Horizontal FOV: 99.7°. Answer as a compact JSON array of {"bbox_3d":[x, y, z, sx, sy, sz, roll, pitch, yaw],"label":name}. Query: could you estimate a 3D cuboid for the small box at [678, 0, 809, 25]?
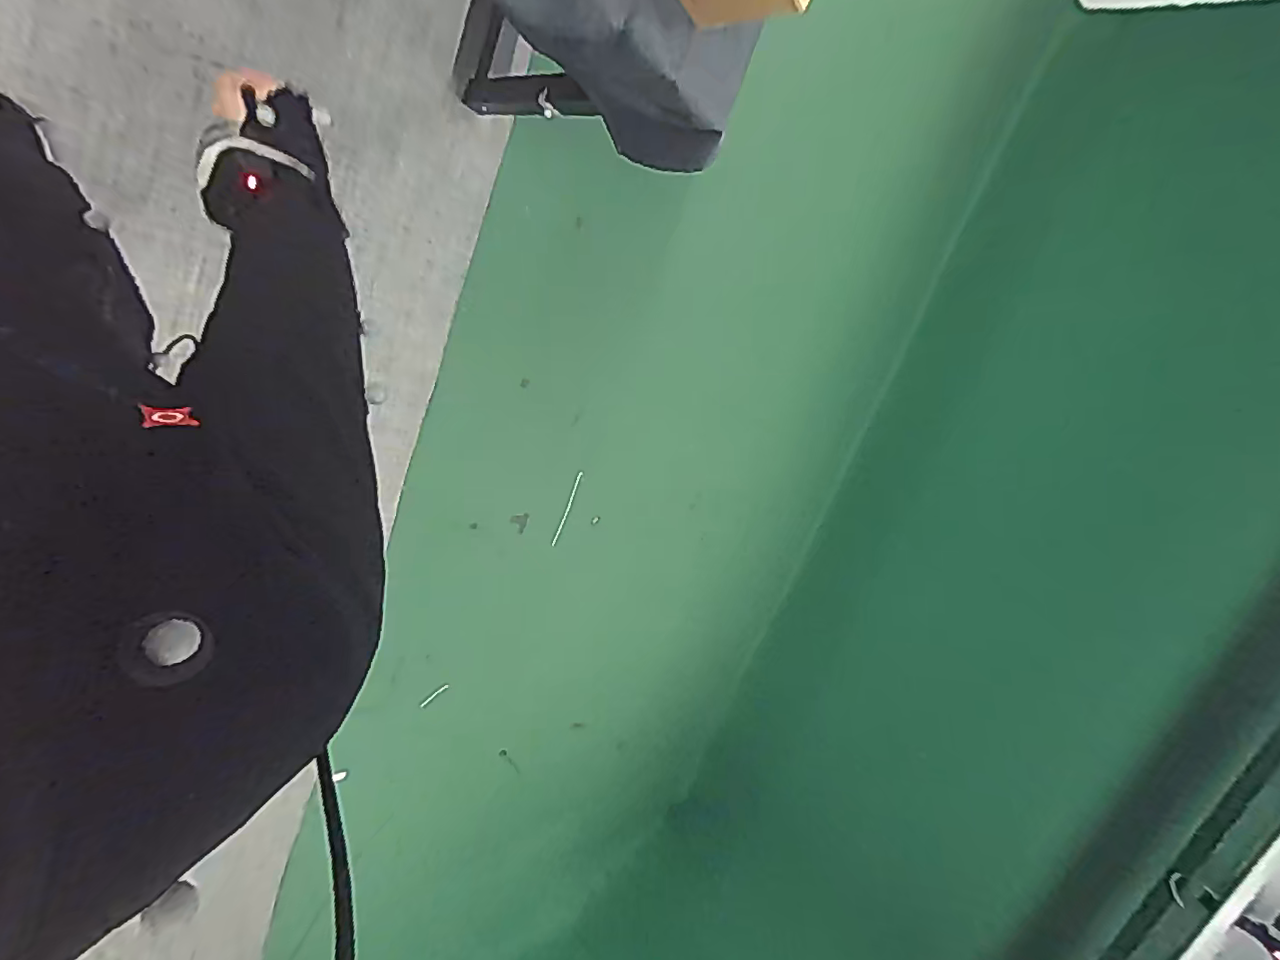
[{"bbox_3d":[0.121,-0.671,0.615,0.168,0.176,0.179,12,104,-52],"label":"small box"}]
